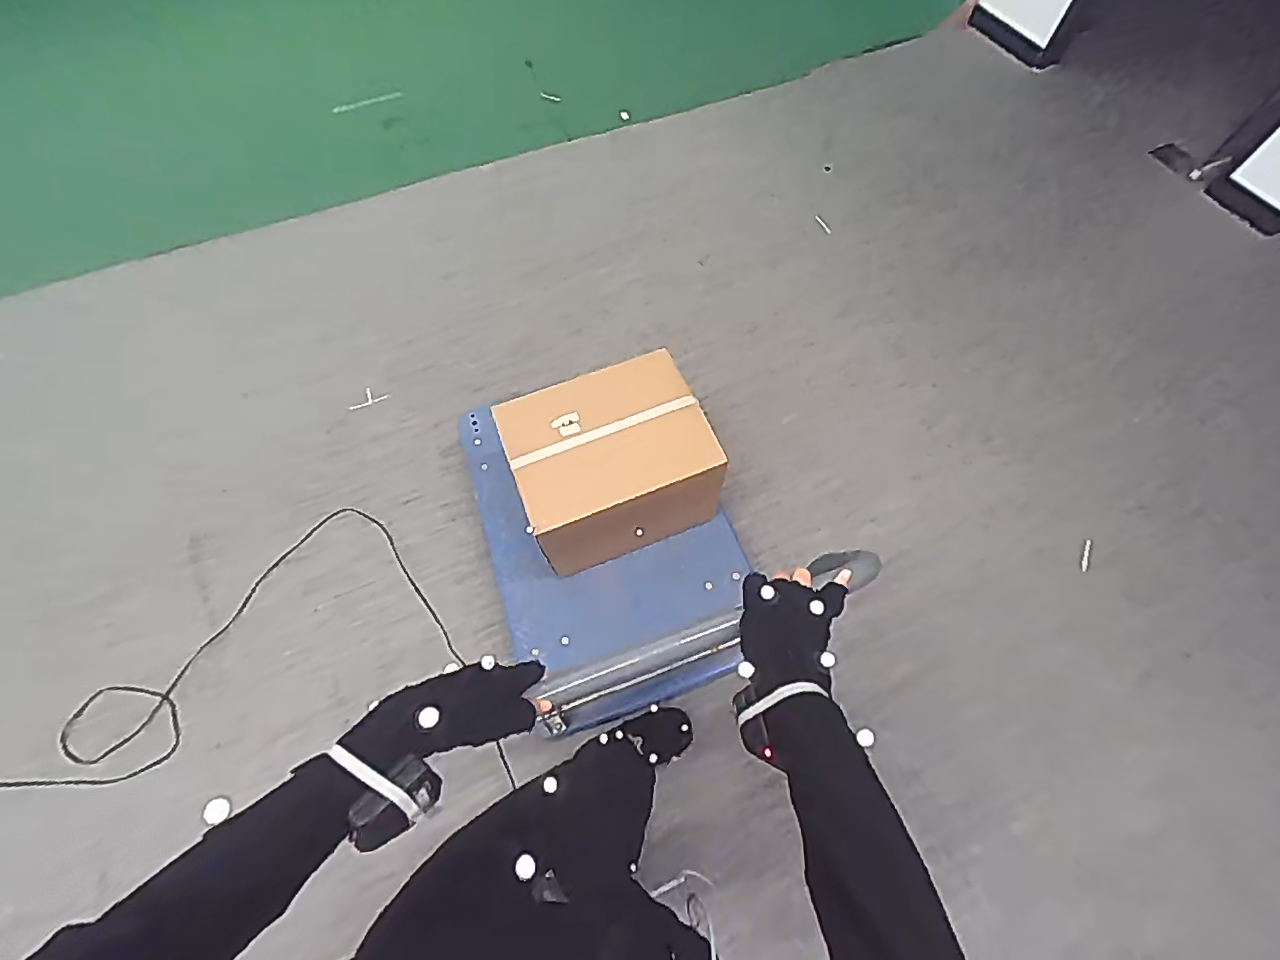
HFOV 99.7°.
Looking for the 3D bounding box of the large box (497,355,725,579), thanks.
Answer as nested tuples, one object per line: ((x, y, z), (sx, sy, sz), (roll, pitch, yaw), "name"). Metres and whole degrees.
((-0.060, -0.019, 1.251), (0.408, 0.320, 0.320), (-22, 65, -8), "large box")
